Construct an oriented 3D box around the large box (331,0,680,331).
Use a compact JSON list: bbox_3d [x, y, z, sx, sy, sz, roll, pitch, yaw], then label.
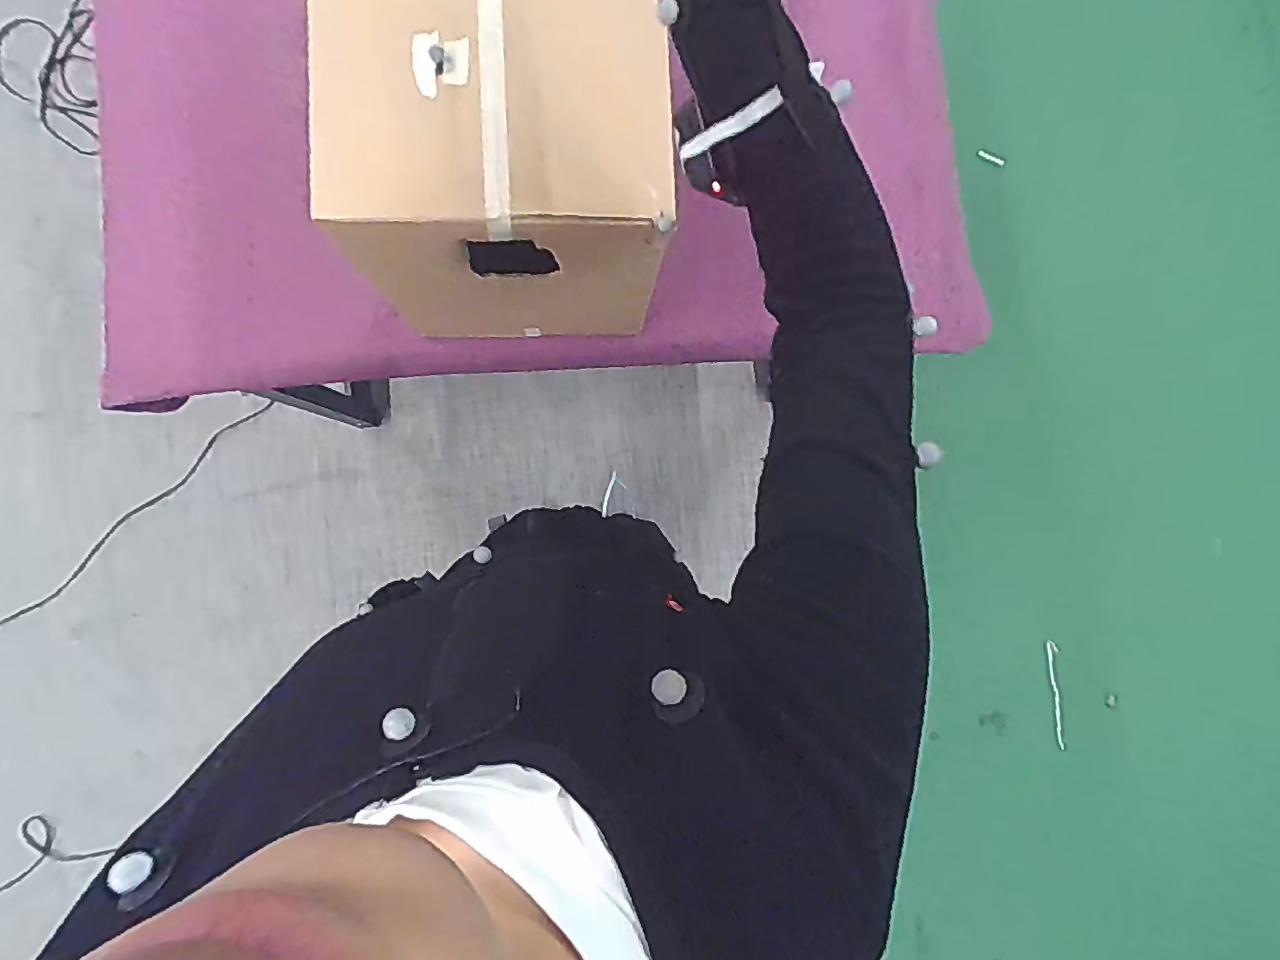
[{"bbox_3d":[-0.140,-0.421,0.644,0.320,0.320,0.408,-2,88,-5],"label":"large box"}]
